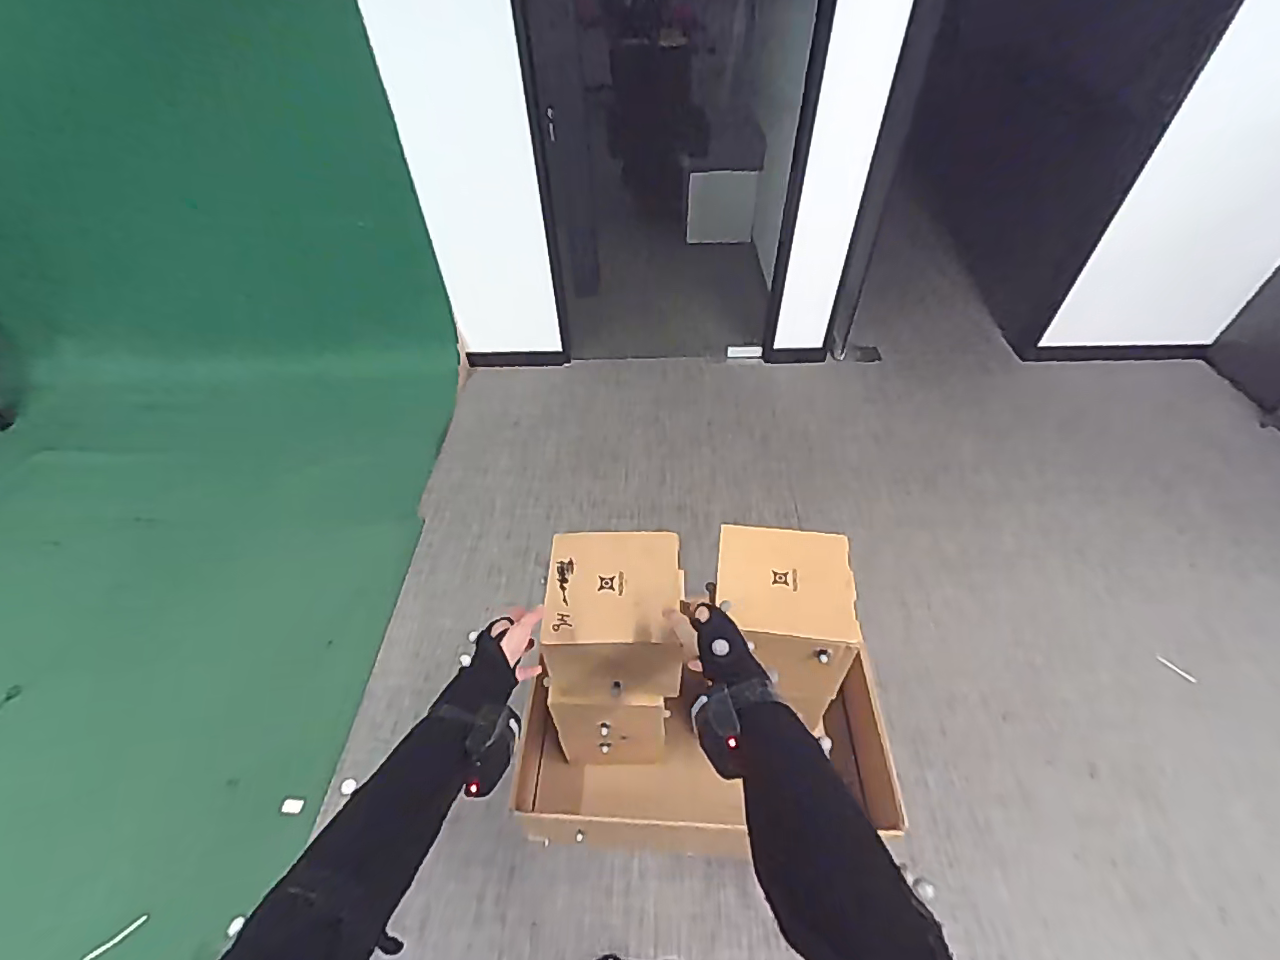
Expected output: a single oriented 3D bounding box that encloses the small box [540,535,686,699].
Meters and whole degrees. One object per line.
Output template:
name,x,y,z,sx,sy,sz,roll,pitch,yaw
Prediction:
small box,-0.031,0.192,0.752,0.179,0.176,0.168,0,48,1
